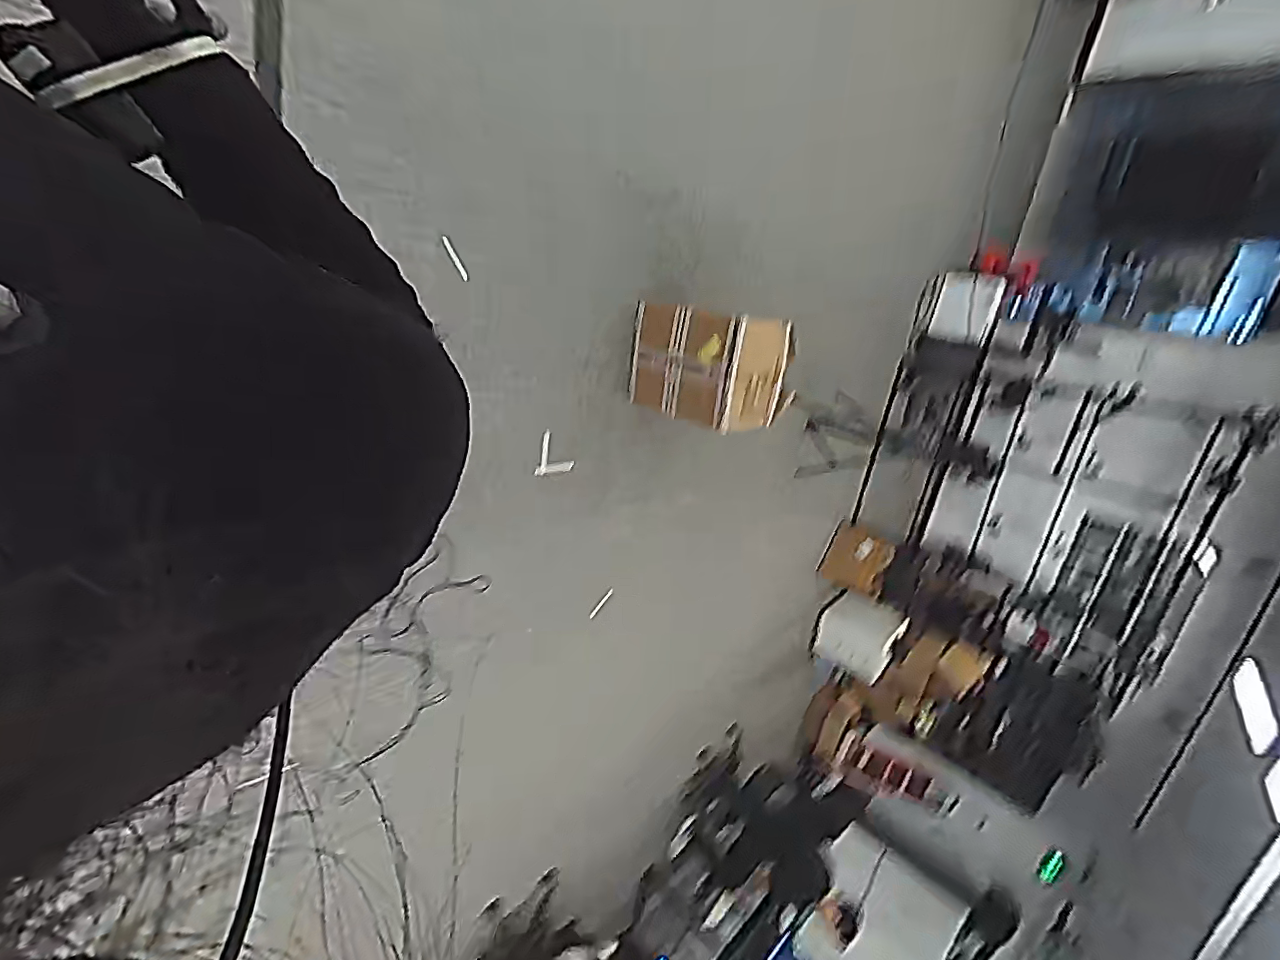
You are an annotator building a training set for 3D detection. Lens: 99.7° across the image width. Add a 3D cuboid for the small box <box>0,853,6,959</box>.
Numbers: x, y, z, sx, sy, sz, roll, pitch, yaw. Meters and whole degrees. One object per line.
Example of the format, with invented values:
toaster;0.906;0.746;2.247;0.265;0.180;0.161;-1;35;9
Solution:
small box;-1.269;0.813;0.966;0.168;0.176;0.179;-1;109;-47
